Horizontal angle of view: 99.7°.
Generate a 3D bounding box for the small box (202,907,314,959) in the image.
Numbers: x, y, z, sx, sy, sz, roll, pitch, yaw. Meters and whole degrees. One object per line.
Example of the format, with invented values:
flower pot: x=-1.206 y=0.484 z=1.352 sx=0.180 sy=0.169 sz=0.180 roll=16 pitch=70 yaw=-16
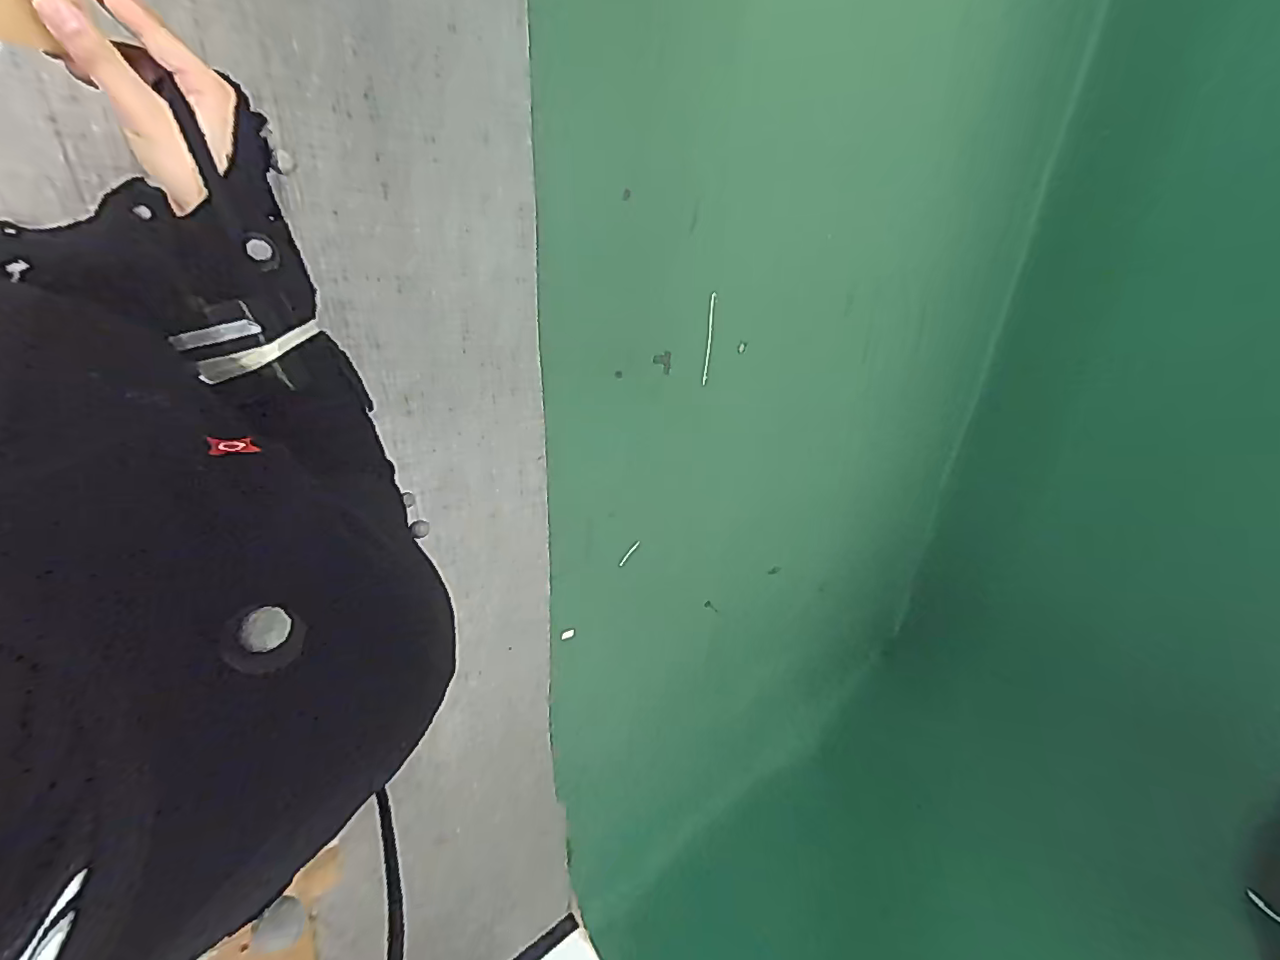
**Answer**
small box: x=-0.717 y=0.971 z=1.029 sx=0.168 sy=0.176 sz=0.179 roll=-11 pitch=120 yaw=-35
